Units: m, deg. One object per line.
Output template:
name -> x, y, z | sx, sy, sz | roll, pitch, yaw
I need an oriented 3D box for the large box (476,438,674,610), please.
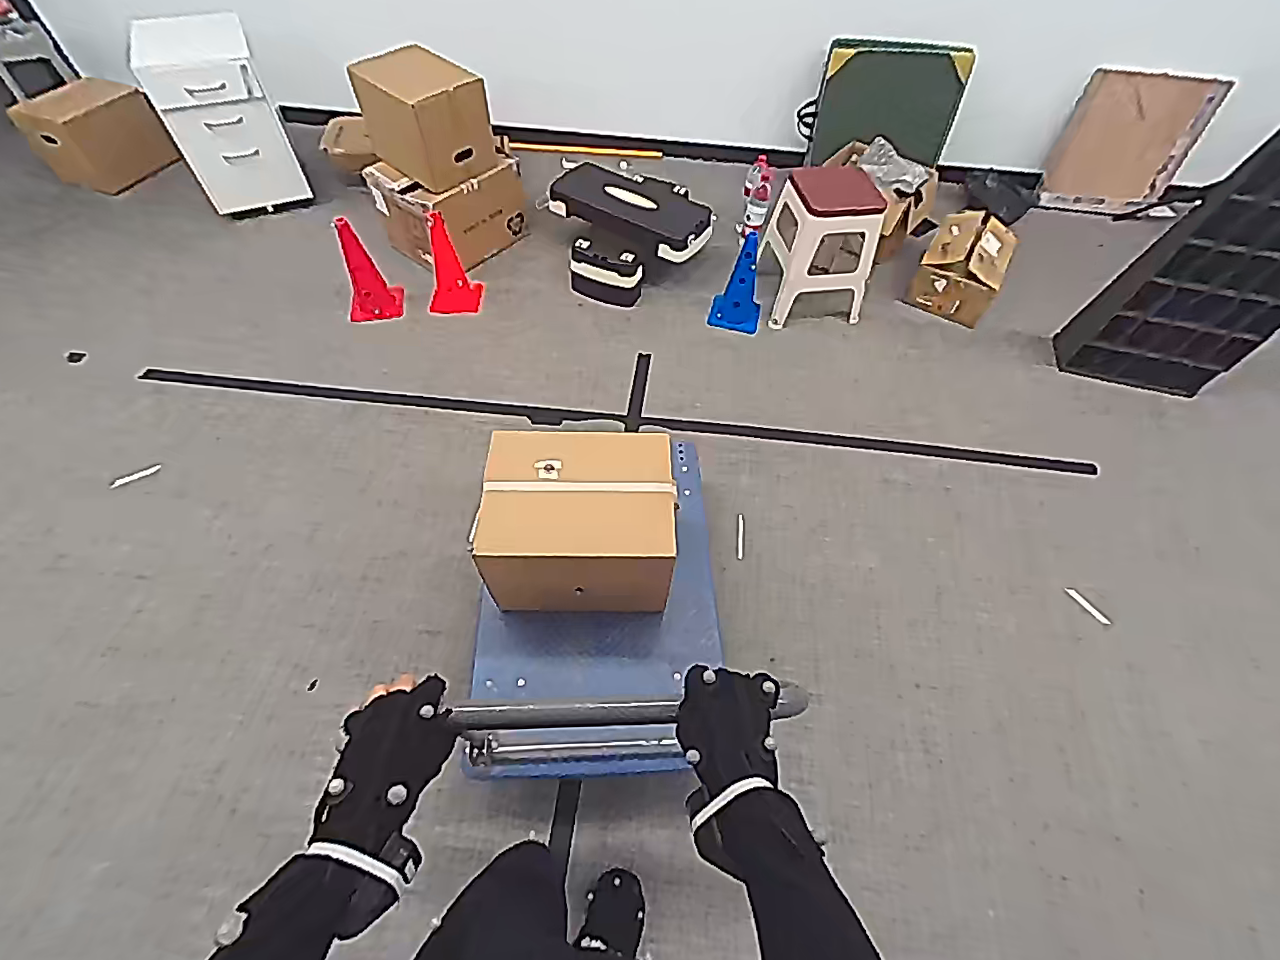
large box -> -0.134, 0.113, 1.284 | 0.408, 0.320, 0.320 | 0, 56, -1
